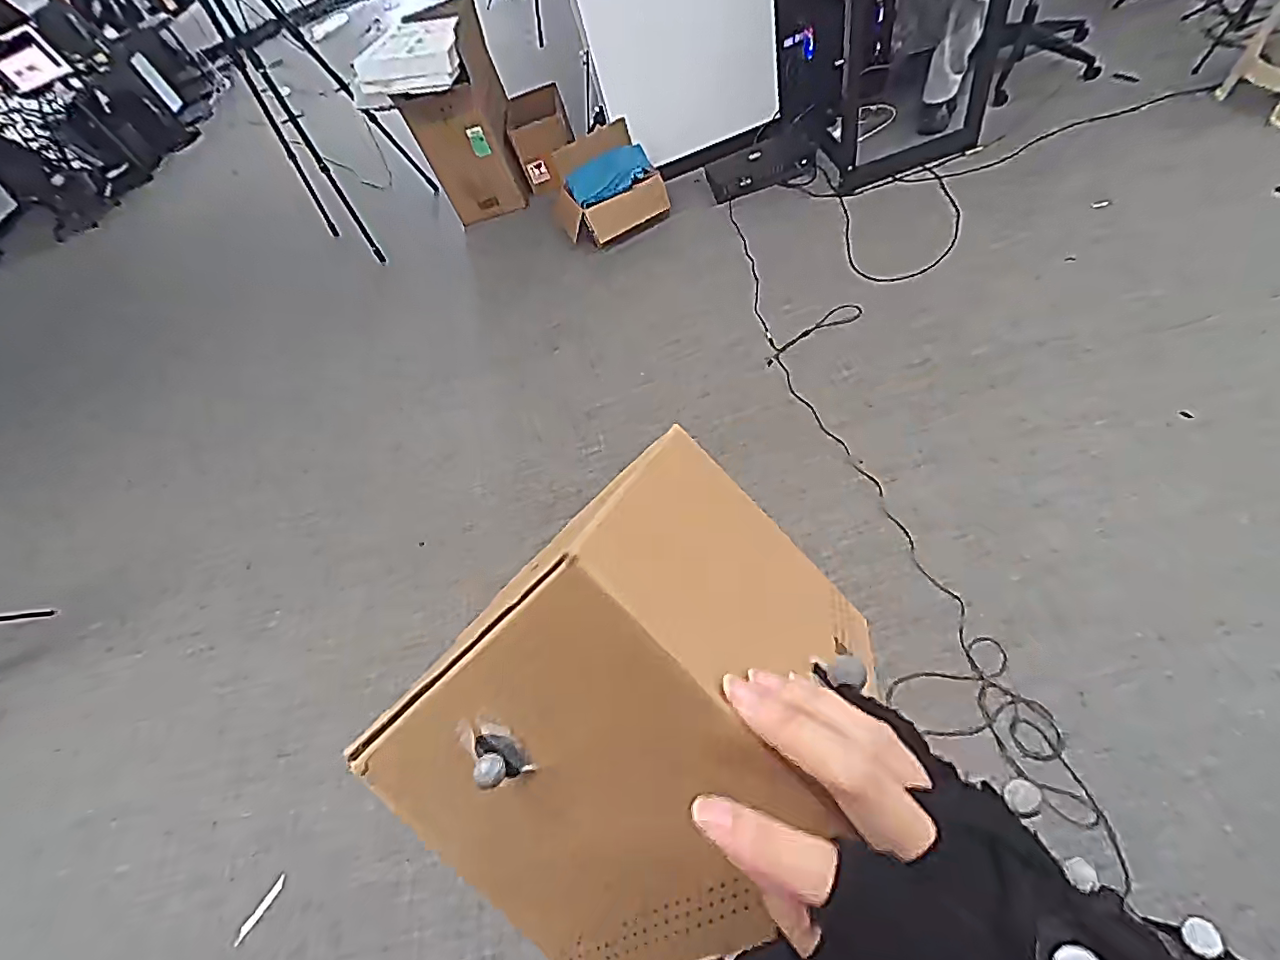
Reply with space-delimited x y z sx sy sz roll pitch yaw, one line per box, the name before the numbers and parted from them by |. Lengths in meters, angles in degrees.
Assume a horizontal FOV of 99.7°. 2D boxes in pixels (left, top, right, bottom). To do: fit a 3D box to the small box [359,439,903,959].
small box | 0.003 0.113 0.289 0.179 0.176 0.168 -43 4 27
